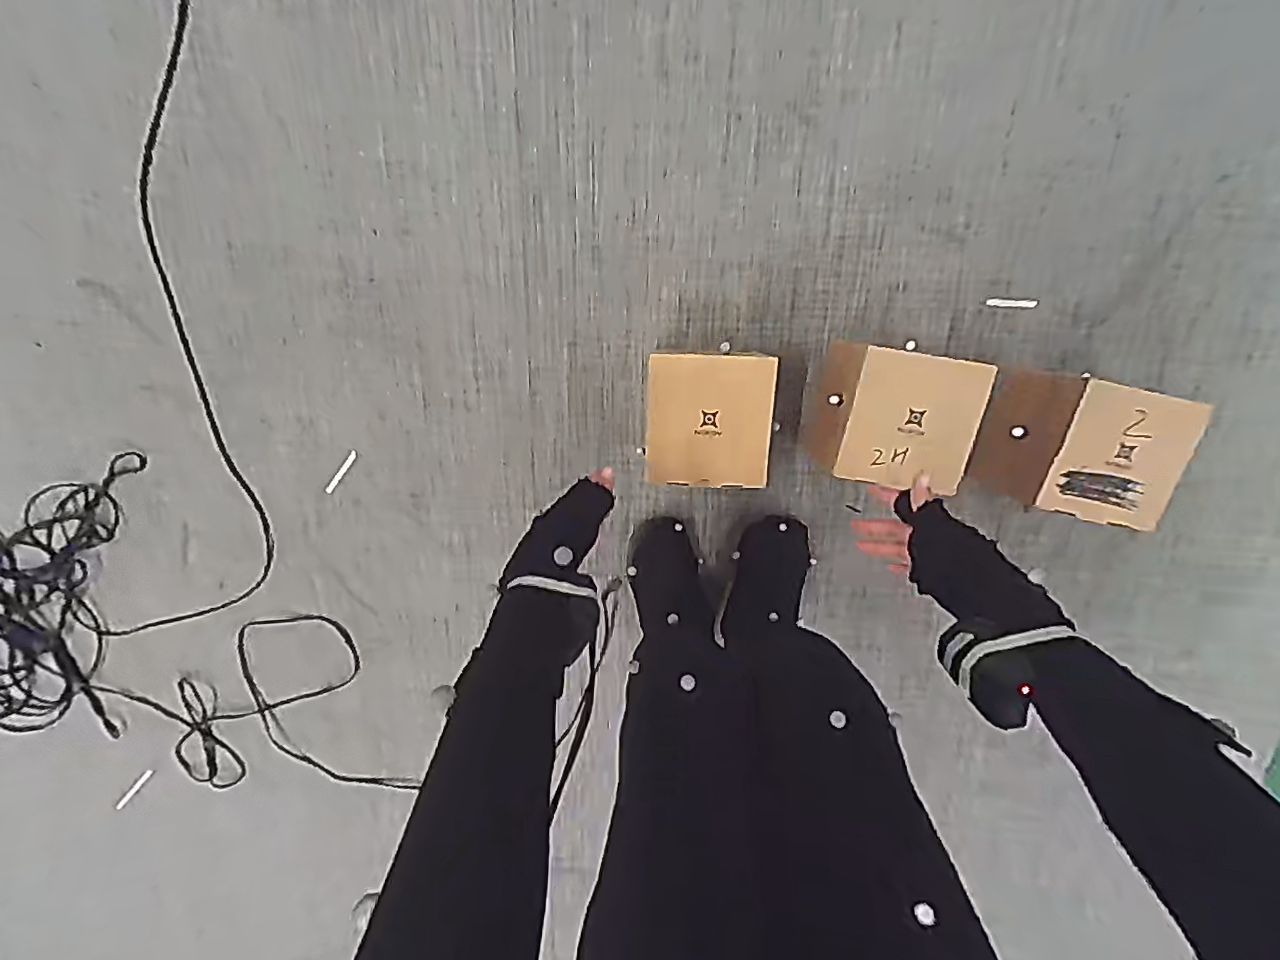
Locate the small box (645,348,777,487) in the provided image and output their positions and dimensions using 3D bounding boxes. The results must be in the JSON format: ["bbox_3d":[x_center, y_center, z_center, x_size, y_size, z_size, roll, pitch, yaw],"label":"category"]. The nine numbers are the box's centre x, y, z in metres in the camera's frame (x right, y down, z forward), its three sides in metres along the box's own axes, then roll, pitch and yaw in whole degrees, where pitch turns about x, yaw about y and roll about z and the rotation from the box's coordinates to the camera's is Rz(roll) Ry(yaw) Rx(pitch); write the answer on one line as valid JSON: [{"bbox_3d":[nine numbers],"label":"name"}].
[{"bbox_3d":[0.094,-0.099,0.786,0.168,0.176,0.179,2,106,3],"label":"small box"}]
